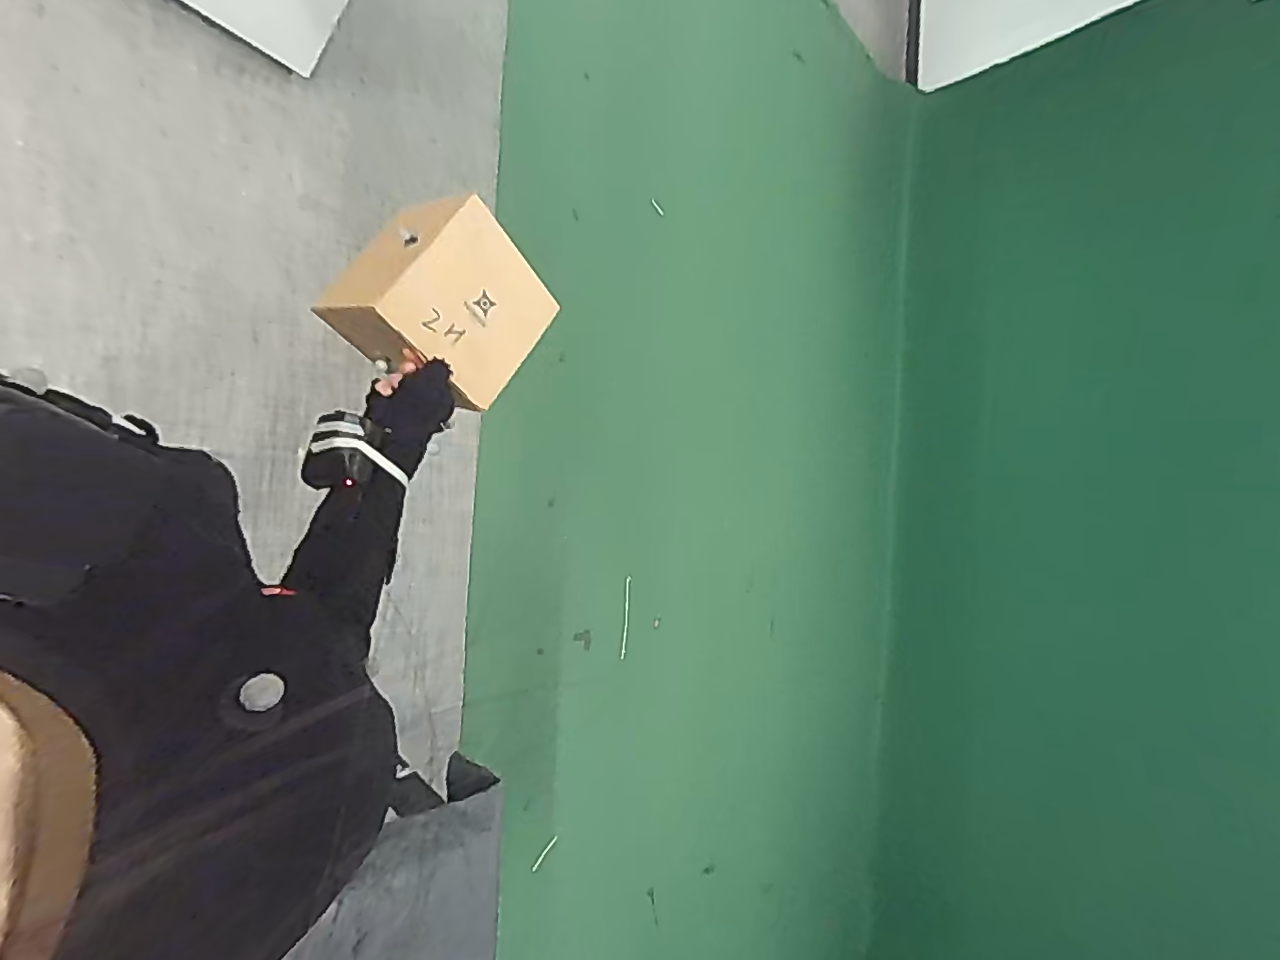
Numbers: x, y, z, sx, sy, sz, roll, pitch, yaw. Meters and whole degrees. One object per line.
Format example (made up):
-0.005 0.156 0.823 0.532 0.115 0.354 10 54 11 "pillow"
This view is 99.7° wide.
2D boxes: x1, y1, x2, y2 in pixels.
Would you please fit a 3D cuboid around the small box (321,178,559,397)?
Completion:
-0.239 -0.225 0.650 0.179 0.176 0.168 -60 139 -18 "small box"
